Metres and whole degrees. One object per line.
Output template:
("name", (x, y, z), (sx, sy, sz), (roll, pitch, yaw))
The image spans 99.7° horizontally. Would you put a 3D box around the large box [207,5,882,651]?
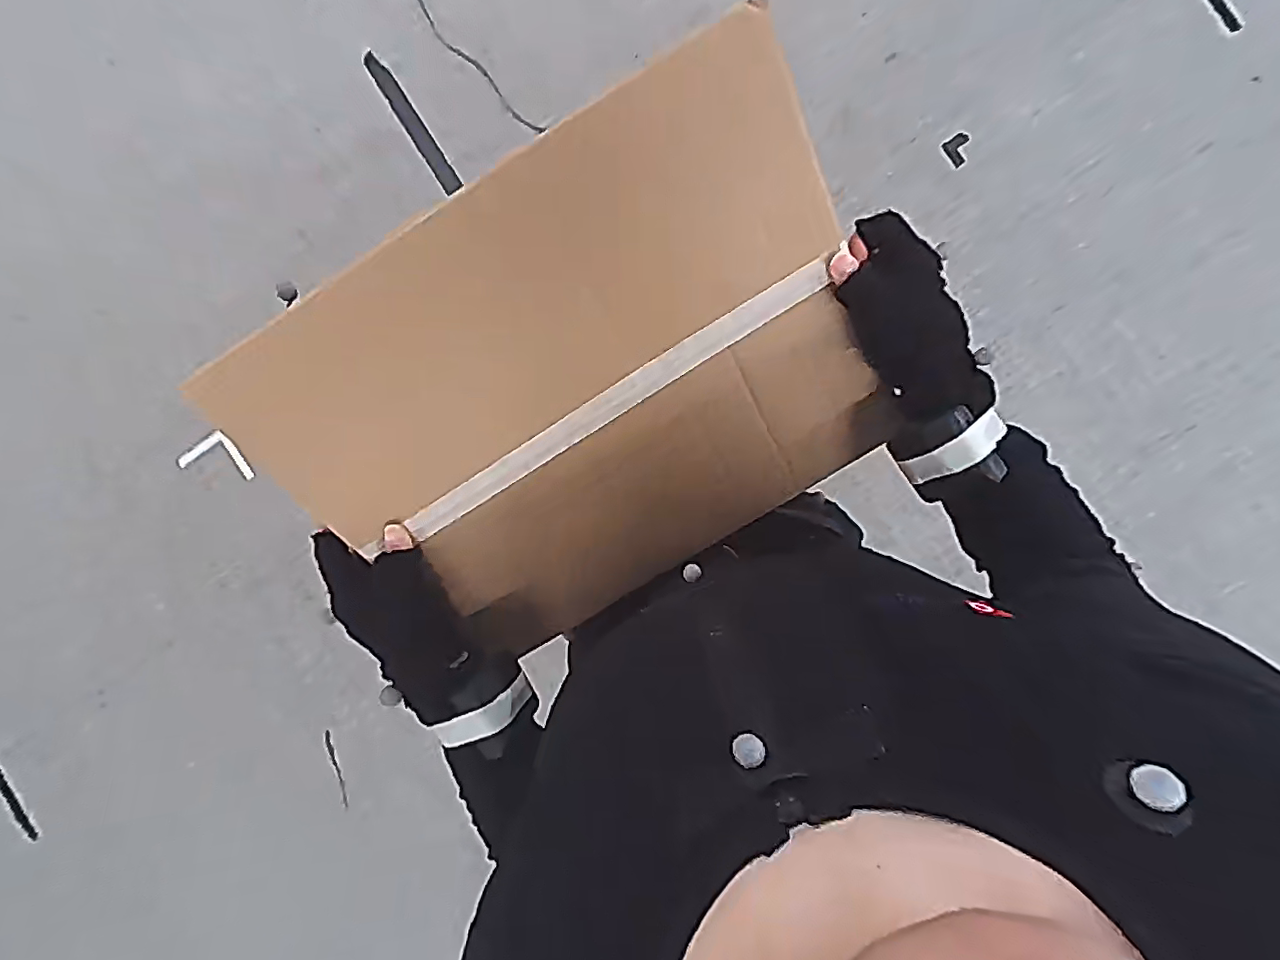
("large box", (-0.067, -0.124, 0.525), (0.408, 0.320, 0.320), (-32, 121, 5))
